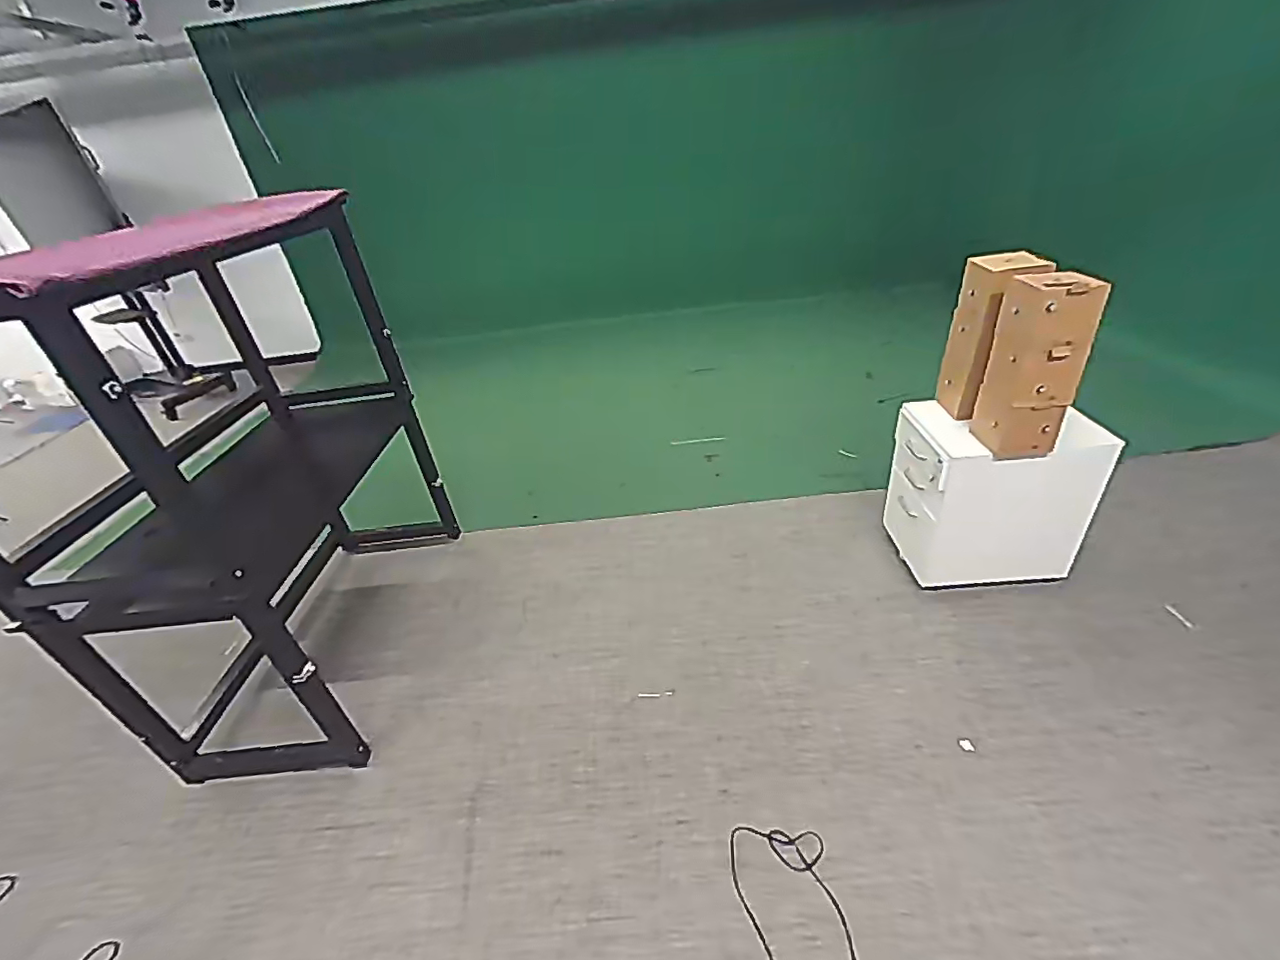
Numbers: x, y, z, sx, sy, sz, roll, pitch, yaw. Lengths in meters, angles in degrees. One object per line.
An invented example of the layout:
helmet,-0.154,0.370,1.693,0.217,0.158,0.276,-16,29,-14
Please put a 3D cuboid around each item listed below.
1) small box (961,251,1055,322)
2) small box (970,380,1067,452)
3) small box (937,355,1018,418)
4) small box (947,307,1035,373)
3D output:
small box,1.128,-0.598,1.679,0.179,0.176,0.168,-5,35,4
small box,1.154,-0.192,1.663,0.168,0.176,0.179,-4,31,3
small box,1.154,-0.329,1.867,0.168,0.176,0.179,-5,34,5
small box,1.141,-0.465,1.776,0.168,0.176,0.179,-5,35,4
